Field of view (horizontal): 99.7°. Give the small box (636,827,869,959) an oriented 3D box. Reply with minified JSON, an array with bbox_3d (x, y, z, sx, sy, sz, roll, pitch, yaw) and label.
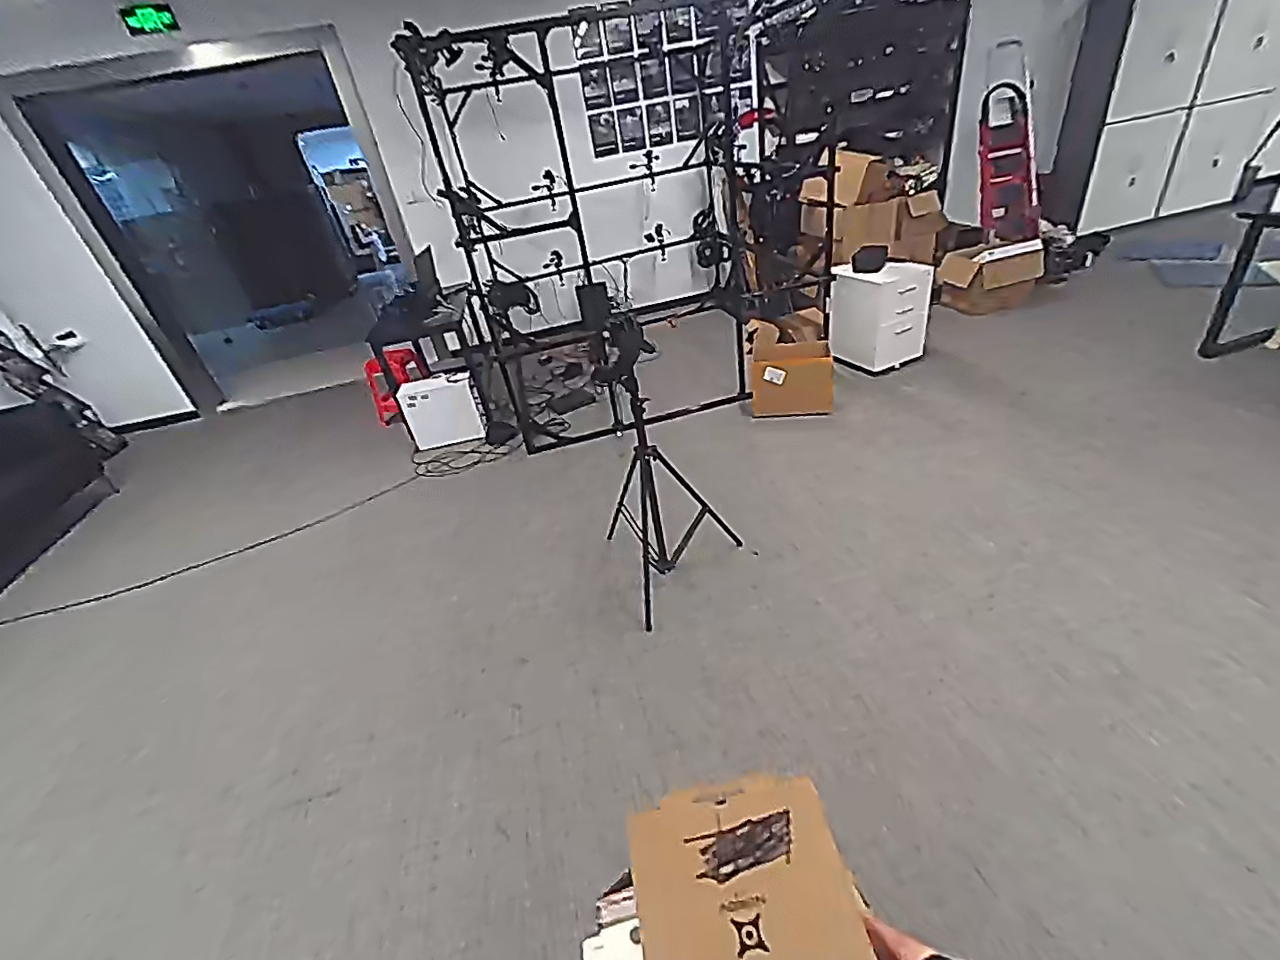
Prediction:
[{"bbox_3d":[0.095,0.421,0.441,0.168,0.176,0.179,-11,42,-1],"label":"small box"}]
